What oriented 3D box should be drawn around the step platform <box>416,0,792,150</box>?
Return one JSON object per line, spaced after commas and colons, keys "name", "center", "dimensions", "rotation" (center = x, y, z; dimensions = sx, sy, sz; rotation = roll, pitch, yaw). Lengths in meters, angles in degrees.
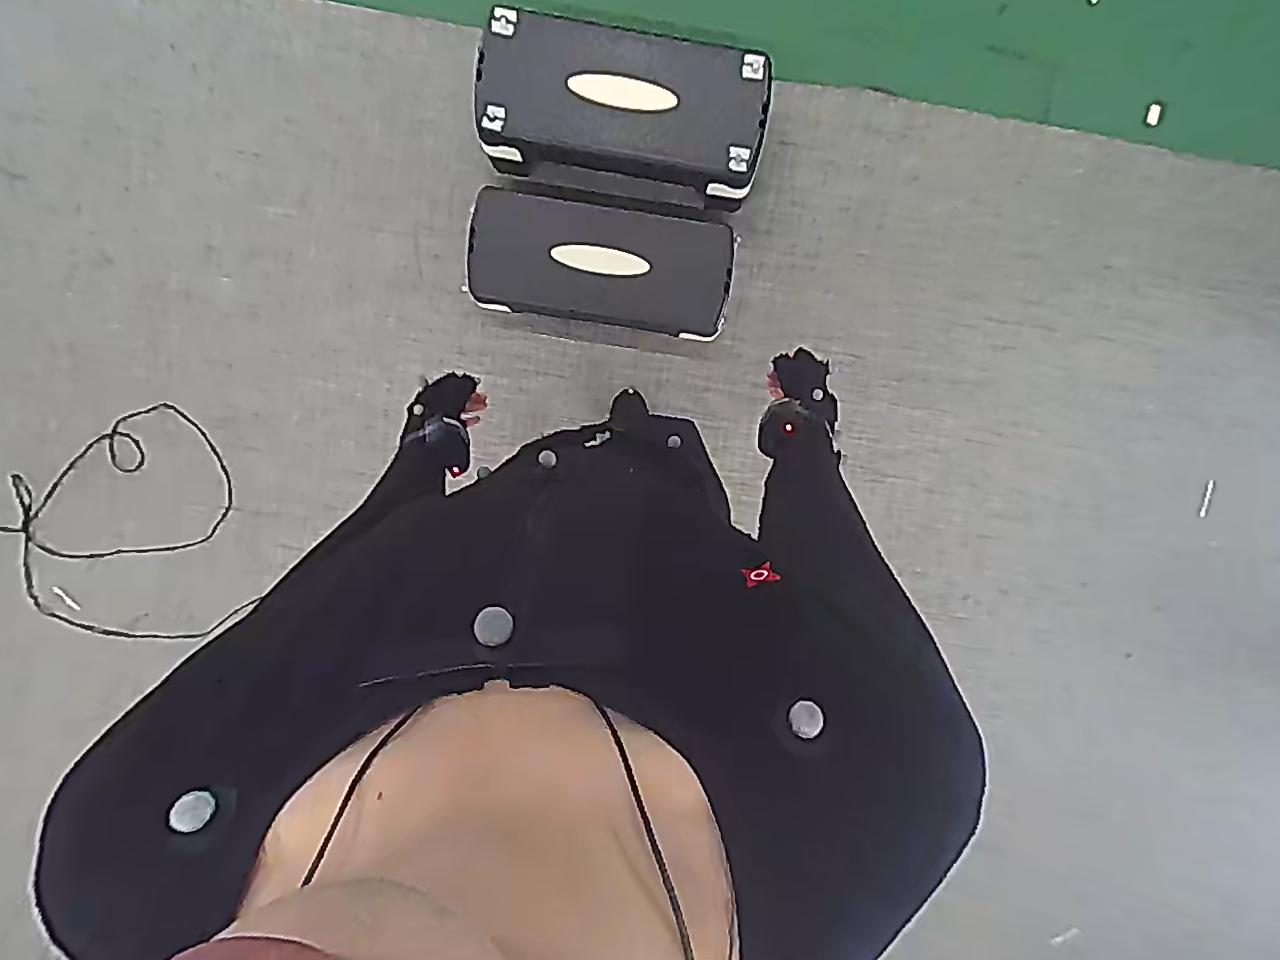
{"name": "step platform", "center": [-0.065, -0.884, 1.075], "dimensions": [0.684, 0.204, 0.286], "rotation": [8, 98, -1]}
